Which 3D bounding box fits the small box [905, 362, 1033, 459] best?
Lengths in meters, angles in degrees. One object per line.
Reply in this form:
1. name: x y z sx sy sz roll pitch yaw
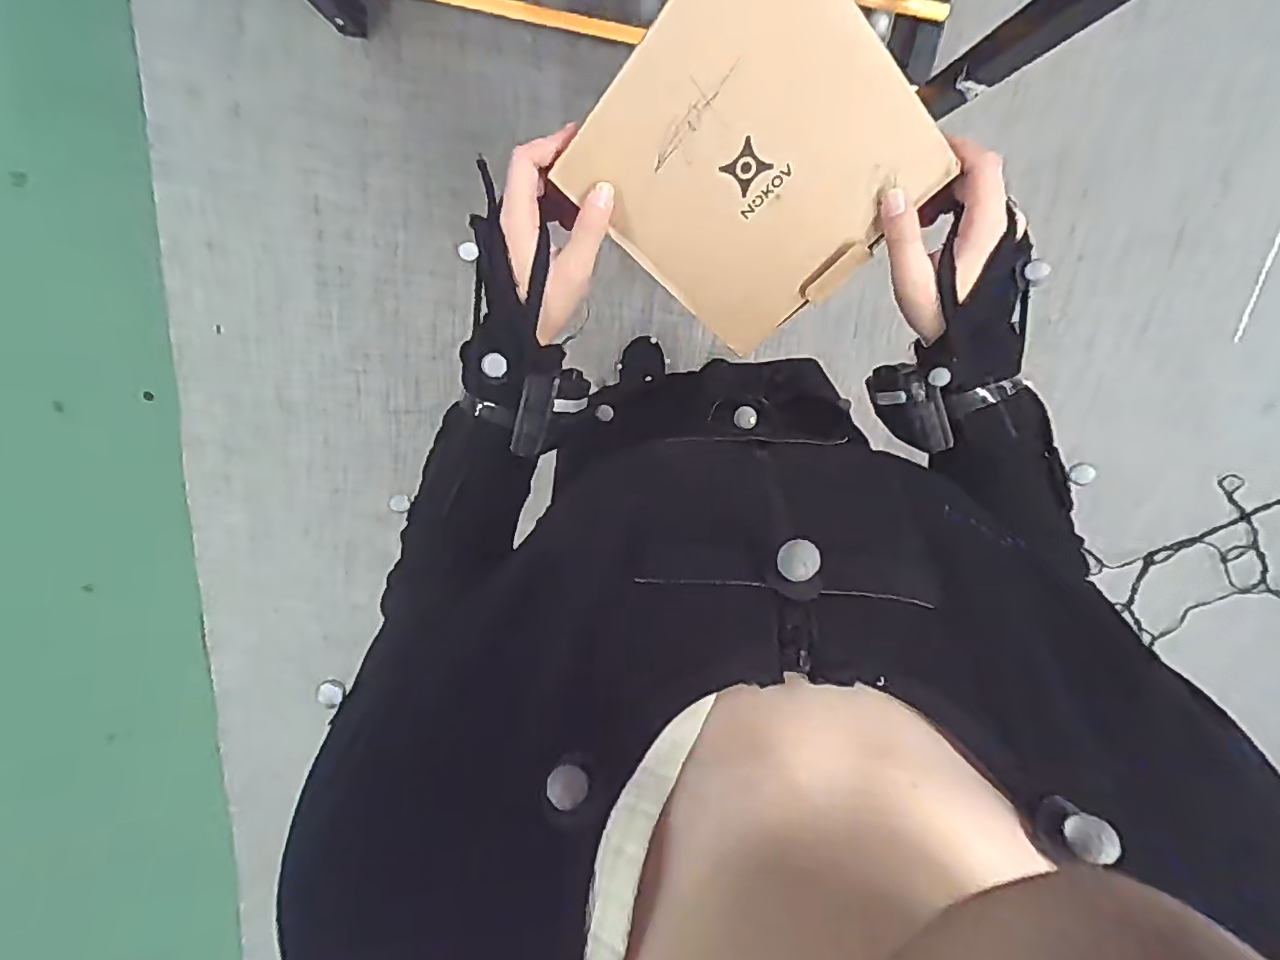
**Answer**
1. small box: 0.751 -0.167 1.258 0.168 0.176 0.179 10 108 -4
